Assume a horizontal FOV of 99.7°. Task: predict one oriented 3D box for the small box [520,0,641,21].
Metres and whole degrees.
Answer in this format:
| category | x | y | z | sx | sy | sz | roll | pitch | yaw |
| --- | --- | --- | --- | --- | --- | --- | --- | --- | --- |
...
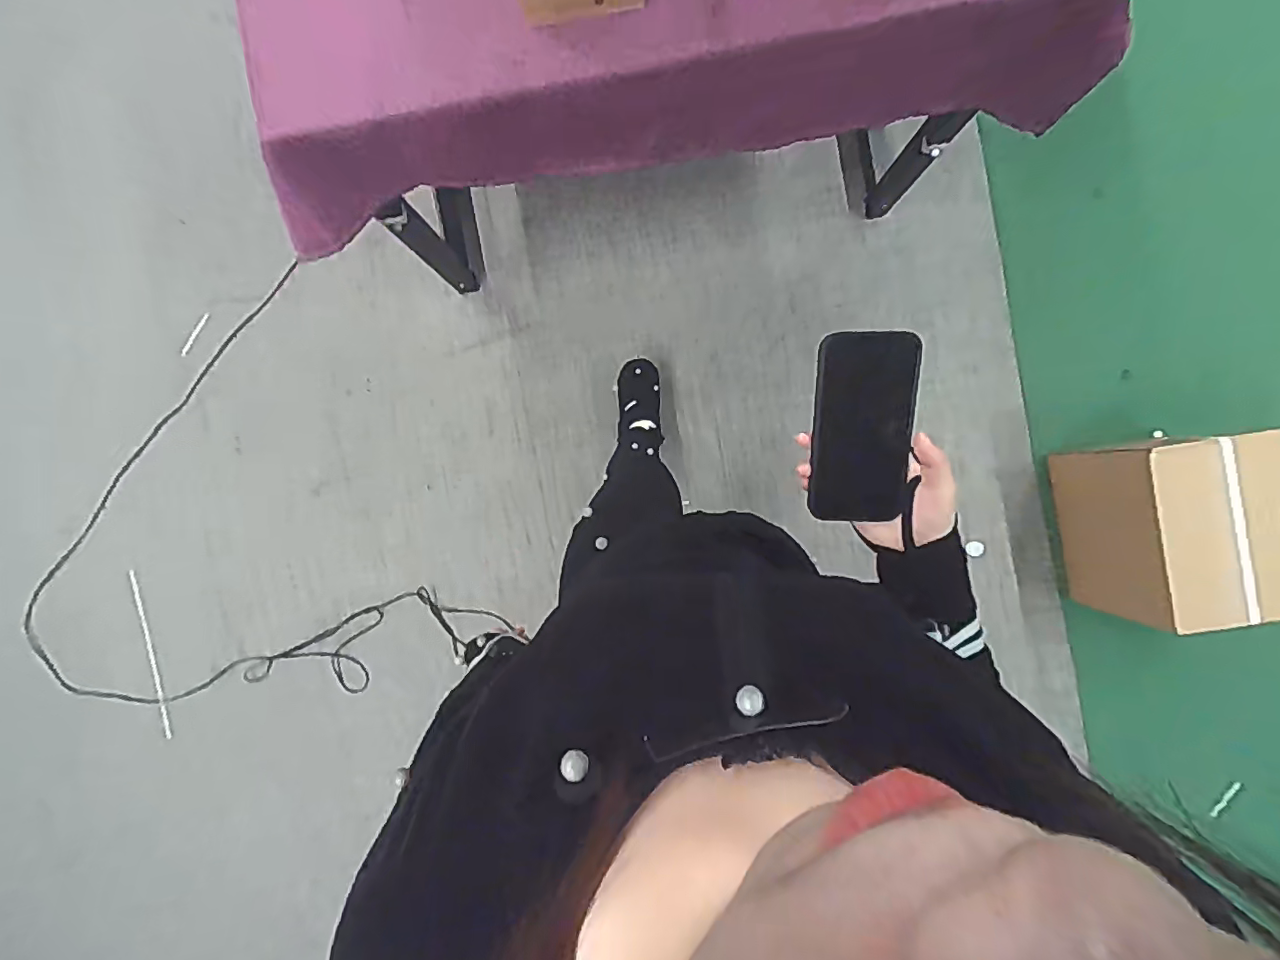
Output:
| category | x | y | z | sx | sy | sz | roll | pitch | yaw |
| --- | --- | --- | --- | --- | --- | --- | --- | --- | --- |
| small box | -0.089 | -0.715 | 0.667 | 0.168 | 0.176 | 0.179 | -7 | 90 | 1 |
